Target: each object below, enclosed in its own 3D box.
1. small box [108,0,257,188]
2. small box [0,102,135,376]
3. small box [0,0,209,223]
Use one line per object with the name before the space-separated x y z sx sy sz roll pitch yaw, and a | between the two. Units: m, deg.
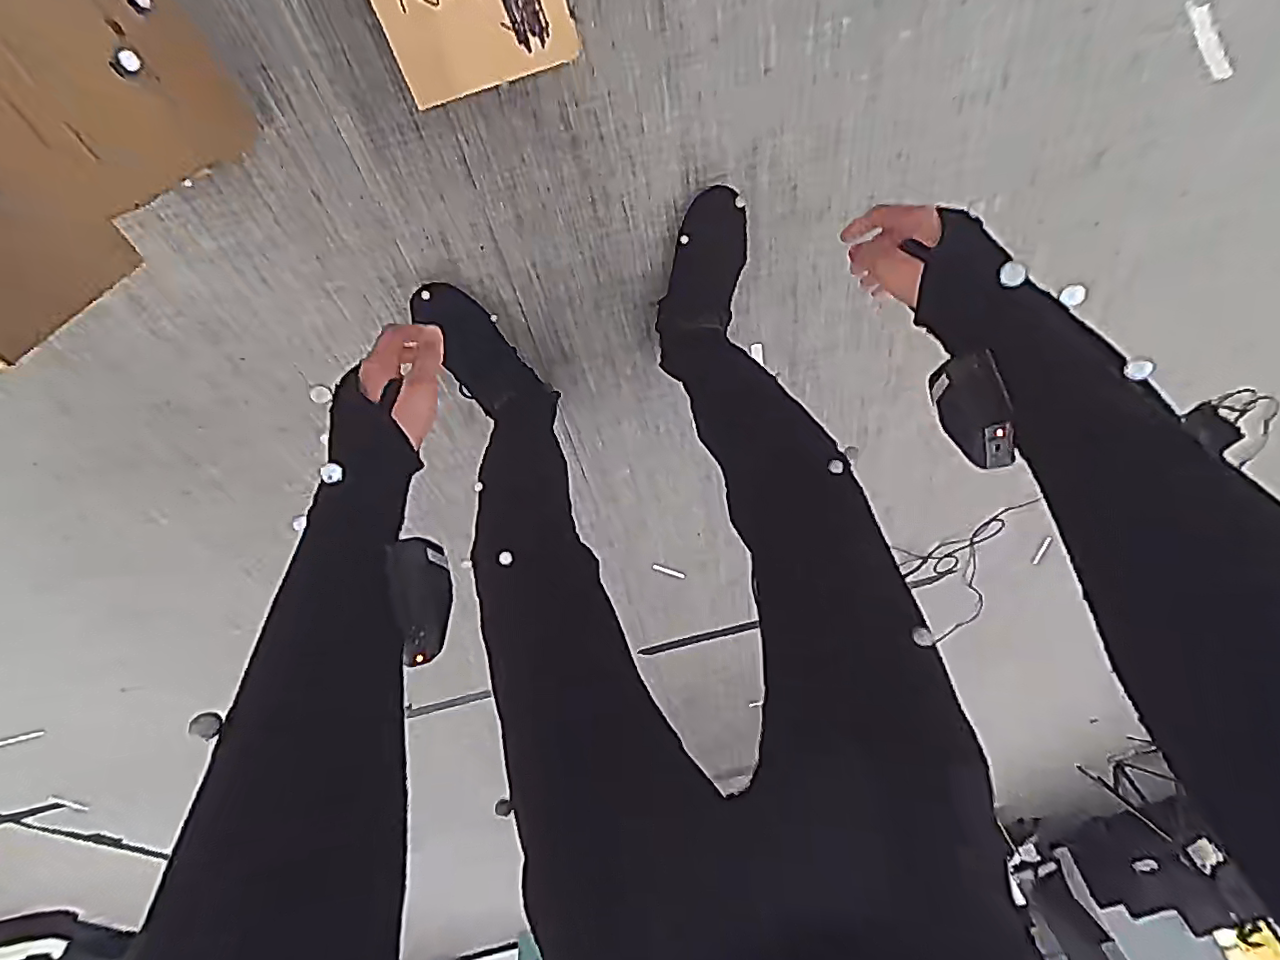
small box | -0.542 -0.397 0.544 0.168 0.176 0.179 -17 135 3
small box | -0.485 -0.159 0.325 0.168 0.176 0.179 -14 135 2
small box | -0.502 -0.291 0.425 0.179 0.176 0.168 -18 135 4
